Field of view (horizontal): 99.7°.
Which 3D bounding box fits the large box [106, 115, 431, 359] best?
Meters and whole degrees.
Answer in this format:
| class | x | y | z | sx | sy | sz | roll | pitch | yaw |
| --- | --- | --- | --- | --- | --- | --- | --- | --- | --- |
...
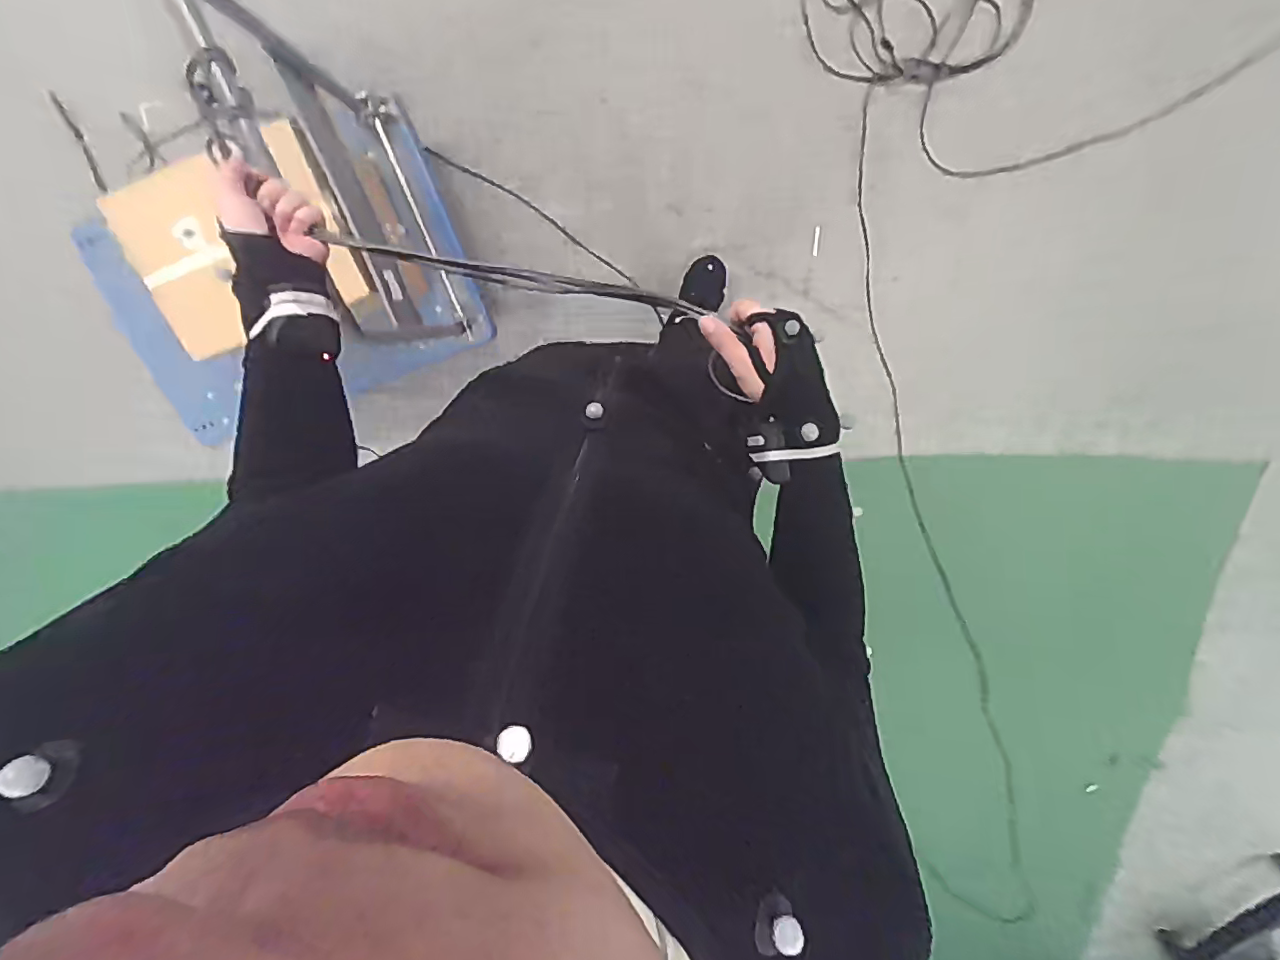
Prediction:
| class | x | y | z | sx | sy | sz | roll | pitch | yaw |
| --- | --- | --- | --- | --- | --- | --- | --- | --- | --- |
| large box | -0.736 | -0.486 | 1.143 | 0.408 | 0.320 | 0.320 | -17 | 107 | 7 |
